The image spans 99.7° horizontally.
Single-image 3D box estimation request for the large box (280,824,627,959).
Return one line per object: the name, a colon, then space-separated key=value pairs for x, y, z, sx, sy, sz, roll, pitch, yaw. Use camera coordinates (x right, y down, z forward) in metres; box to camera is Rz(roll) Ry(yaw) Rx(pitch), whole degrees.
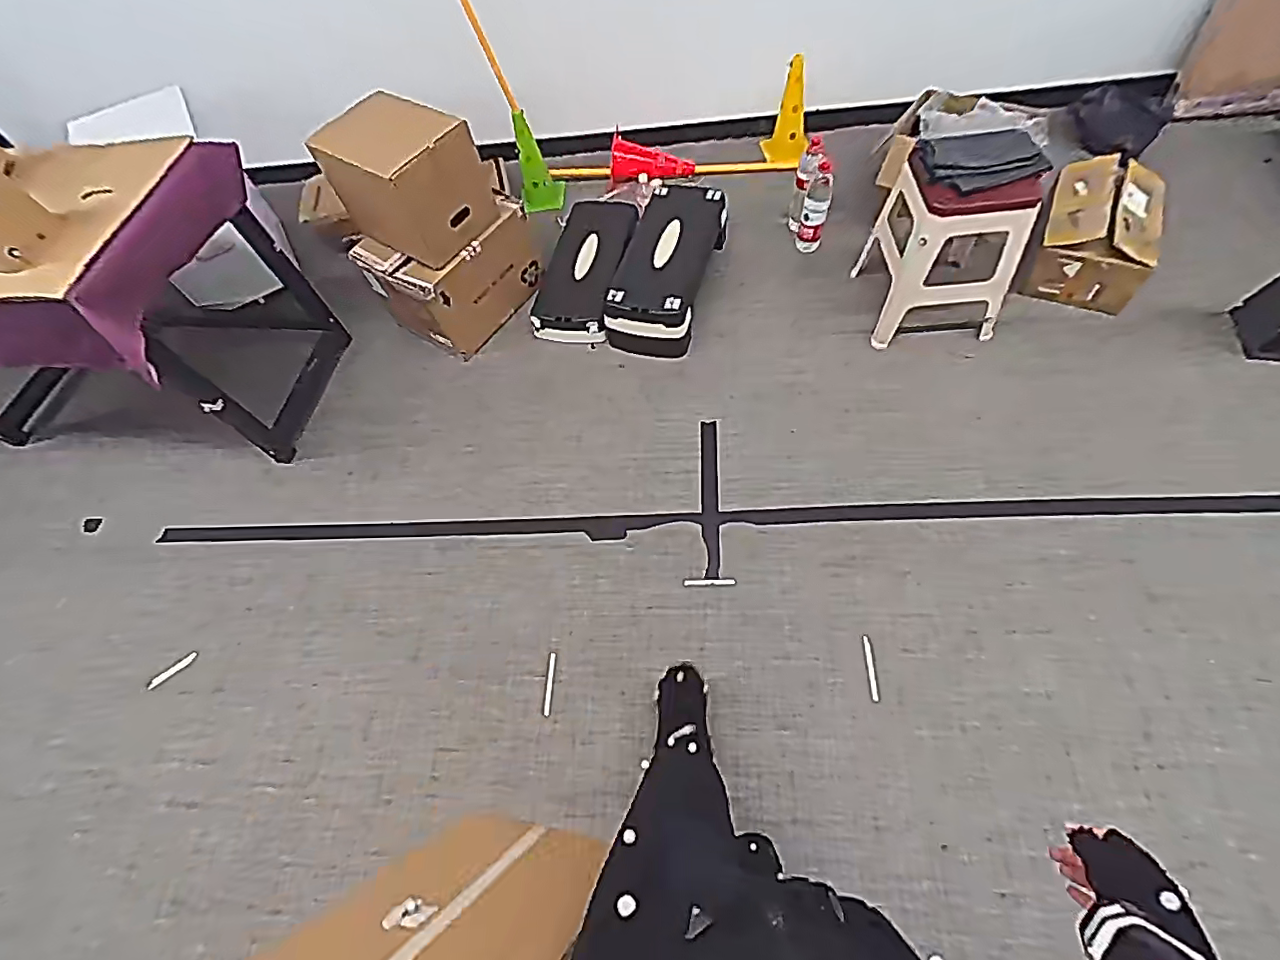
large box: x=-0.231 y=0.724 z=0.698 sx=0.320 sy=0.408 sz=0.320 roll=-2 pitch=81 yaw=20
